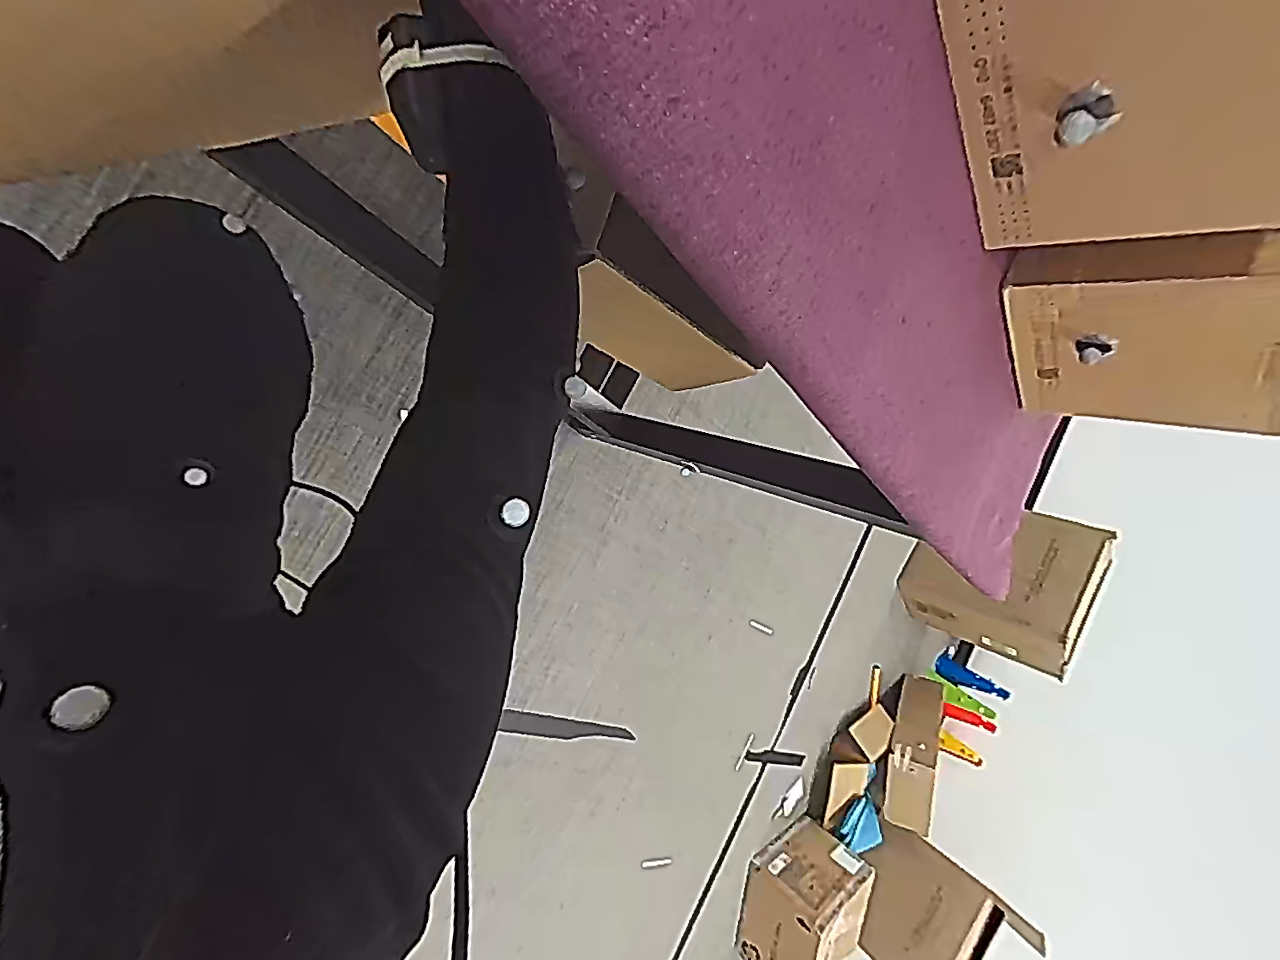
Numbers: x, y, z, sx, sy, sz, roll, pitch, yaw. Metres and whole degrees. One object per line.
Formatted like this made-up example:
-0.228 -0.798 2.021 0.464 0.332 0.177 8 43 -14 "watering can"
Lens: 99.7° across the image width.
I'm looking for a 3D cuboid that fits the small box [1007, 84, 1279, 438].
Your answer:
0.400 -0.158 0.400 0.168 0.176 0.179 39 77 -42 "small box"
